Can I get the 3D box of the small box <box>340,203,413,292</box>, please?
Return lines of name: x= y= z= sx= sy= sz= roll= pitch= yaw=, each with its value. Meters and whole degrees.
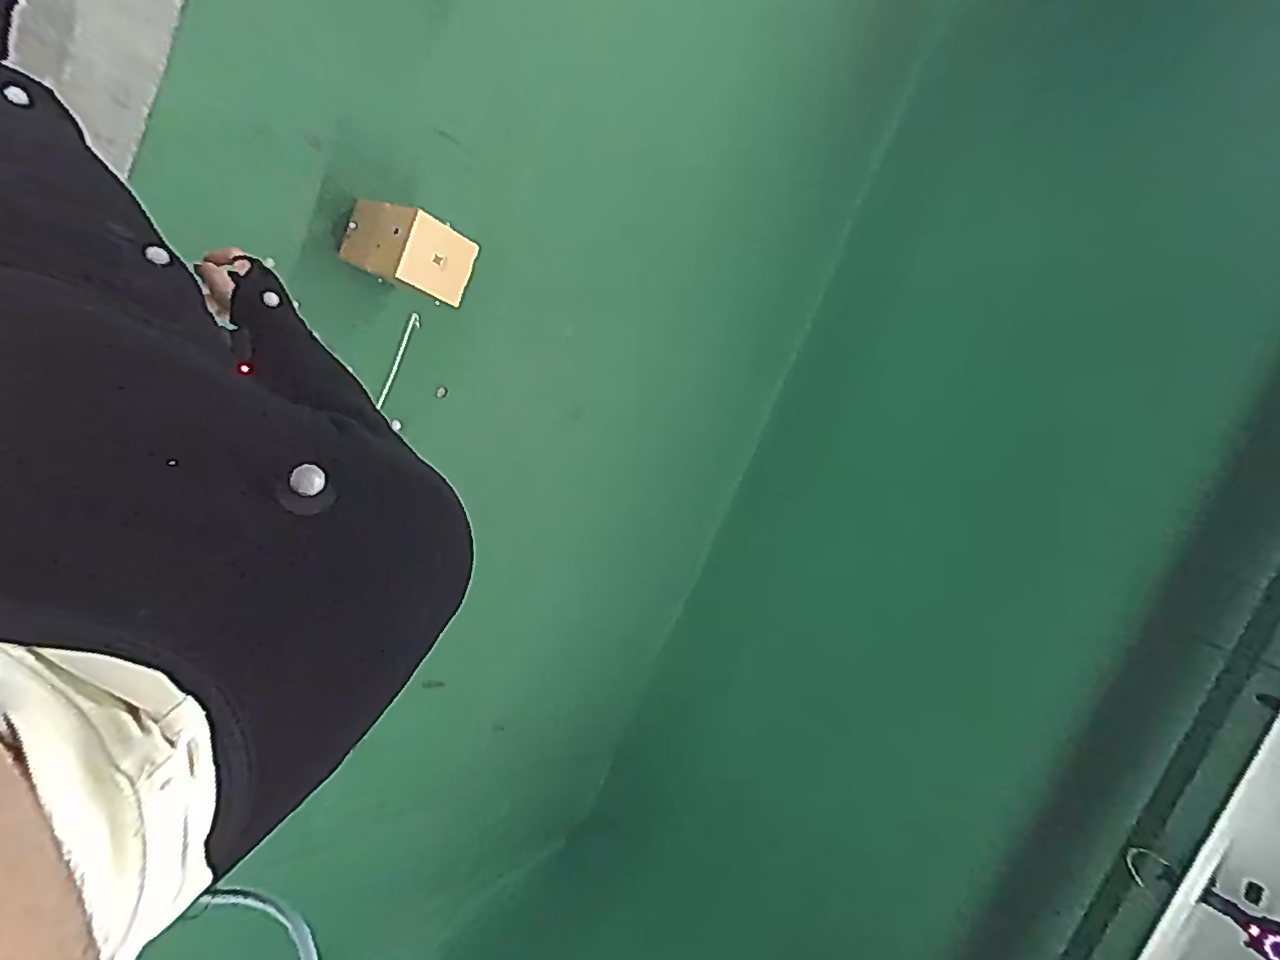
small box: x=-0.660 y=-0.619 z=1.445 sx=0.179 sy=0.176 sz=0.168 roll=15 pitch=99 yaw=-54

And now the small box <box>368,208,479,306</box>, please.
small box: x=-0.544 y=-0.558 z=1.352 sx=0.179 sy=0.176 sz=0.168 roll=15 pitch=99 yaw=-55
